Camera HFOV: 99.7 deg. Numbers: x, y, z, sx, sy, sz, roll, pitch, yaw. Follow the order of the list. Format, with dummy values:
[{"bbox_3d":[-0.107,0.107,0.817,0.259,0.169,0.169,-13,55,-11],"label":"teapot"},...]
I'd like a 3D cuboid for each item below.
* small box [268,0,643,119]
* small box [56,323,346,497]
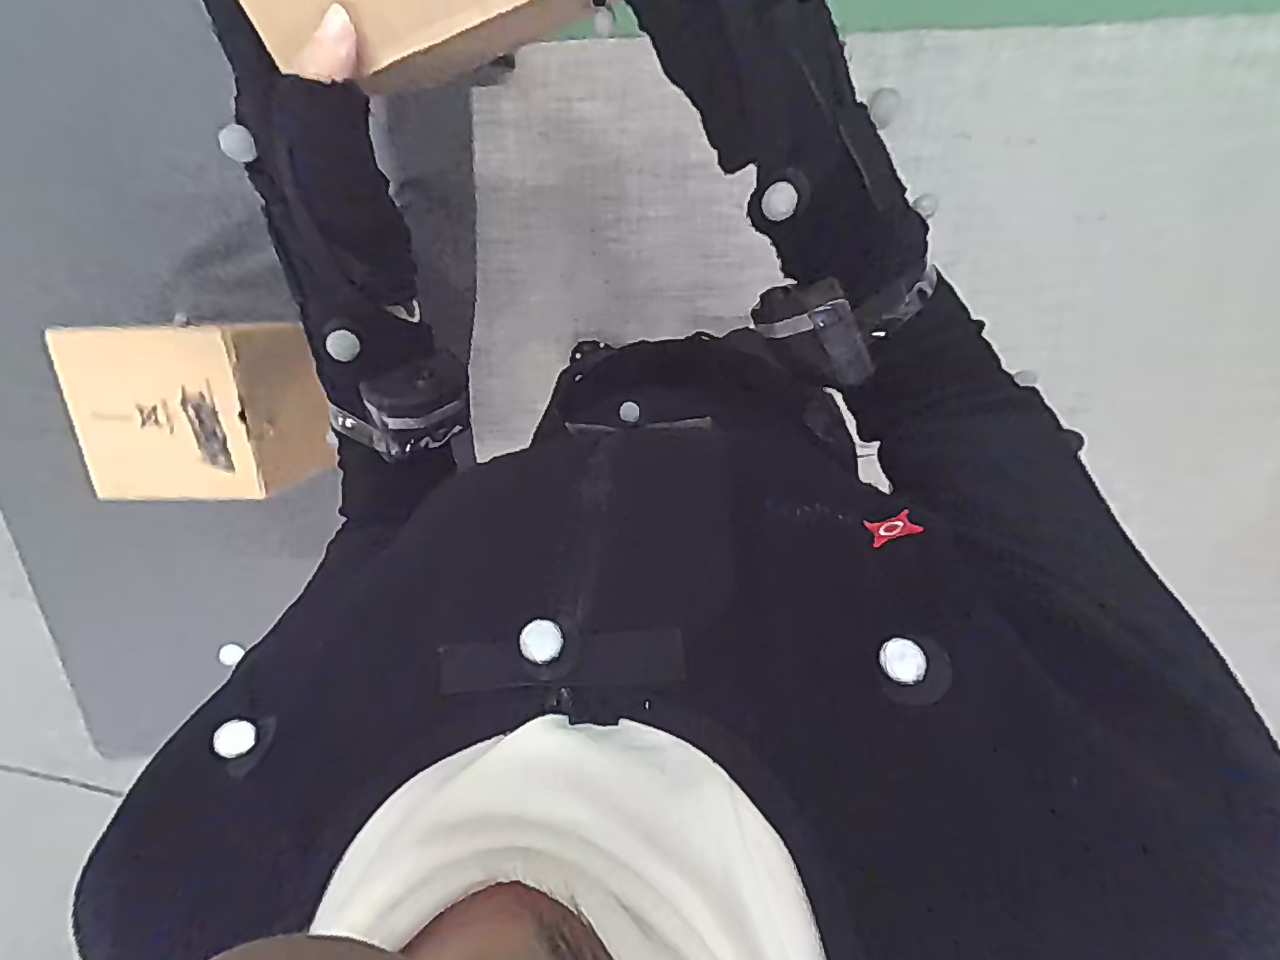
[{"bbox_3d":[-0.076,-0.285,0.227,0.179,0.176,0.168,-17,125,14],"label":"small box"},{"bbox_3d":[-0.455,-0.086,0.600,0.179,0.176,0.168,0,107,3],"label":"small box"}]
